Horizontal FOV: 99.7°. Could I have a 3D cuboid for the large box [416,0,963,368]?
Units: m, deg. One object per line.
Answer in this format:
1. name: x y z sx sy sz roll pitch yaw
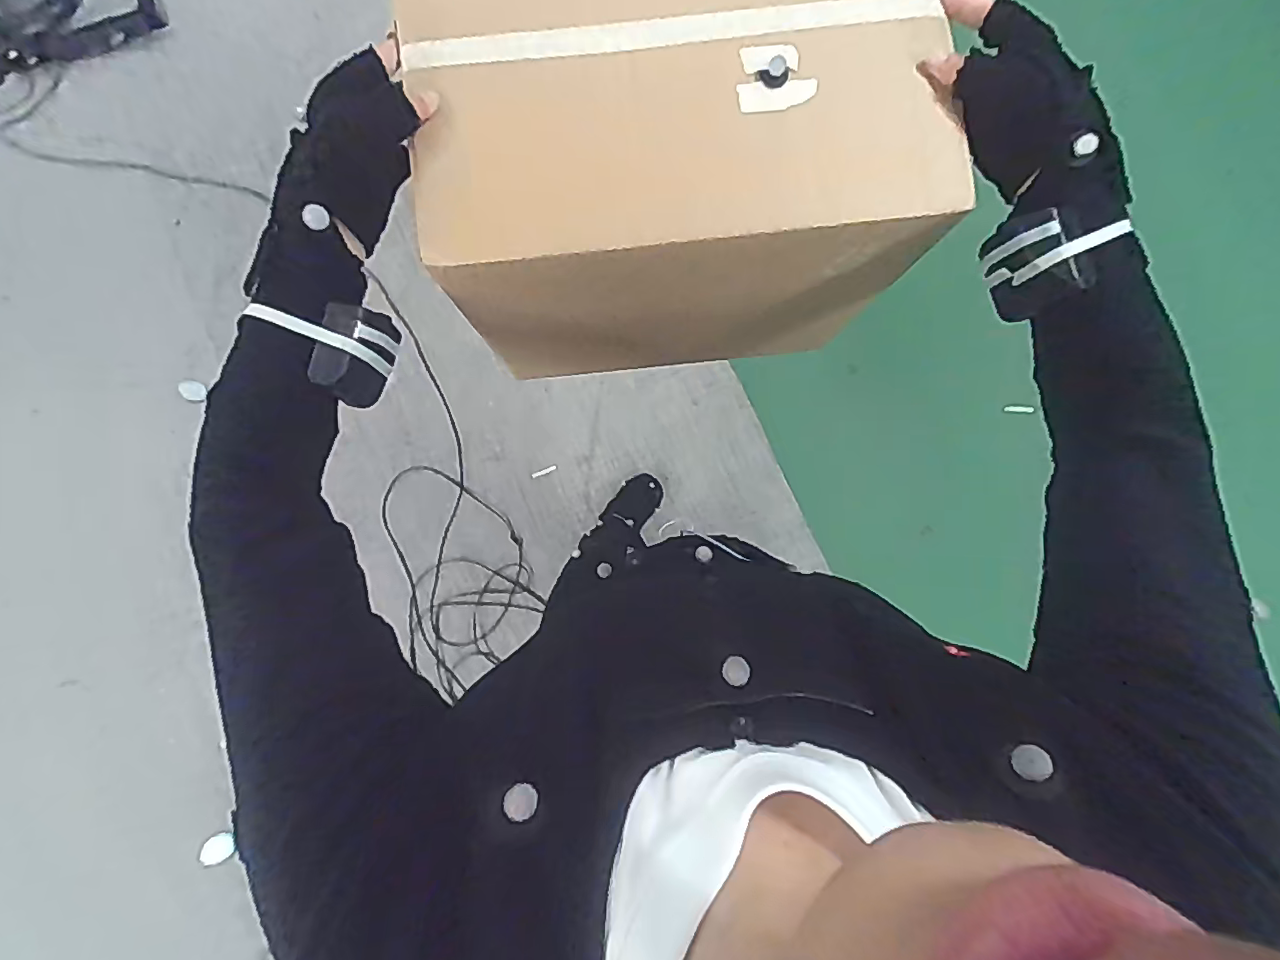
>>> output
1. large box: 0.026 -0.325 0.560 0.408 0.320 0.320 -6 86 -2
